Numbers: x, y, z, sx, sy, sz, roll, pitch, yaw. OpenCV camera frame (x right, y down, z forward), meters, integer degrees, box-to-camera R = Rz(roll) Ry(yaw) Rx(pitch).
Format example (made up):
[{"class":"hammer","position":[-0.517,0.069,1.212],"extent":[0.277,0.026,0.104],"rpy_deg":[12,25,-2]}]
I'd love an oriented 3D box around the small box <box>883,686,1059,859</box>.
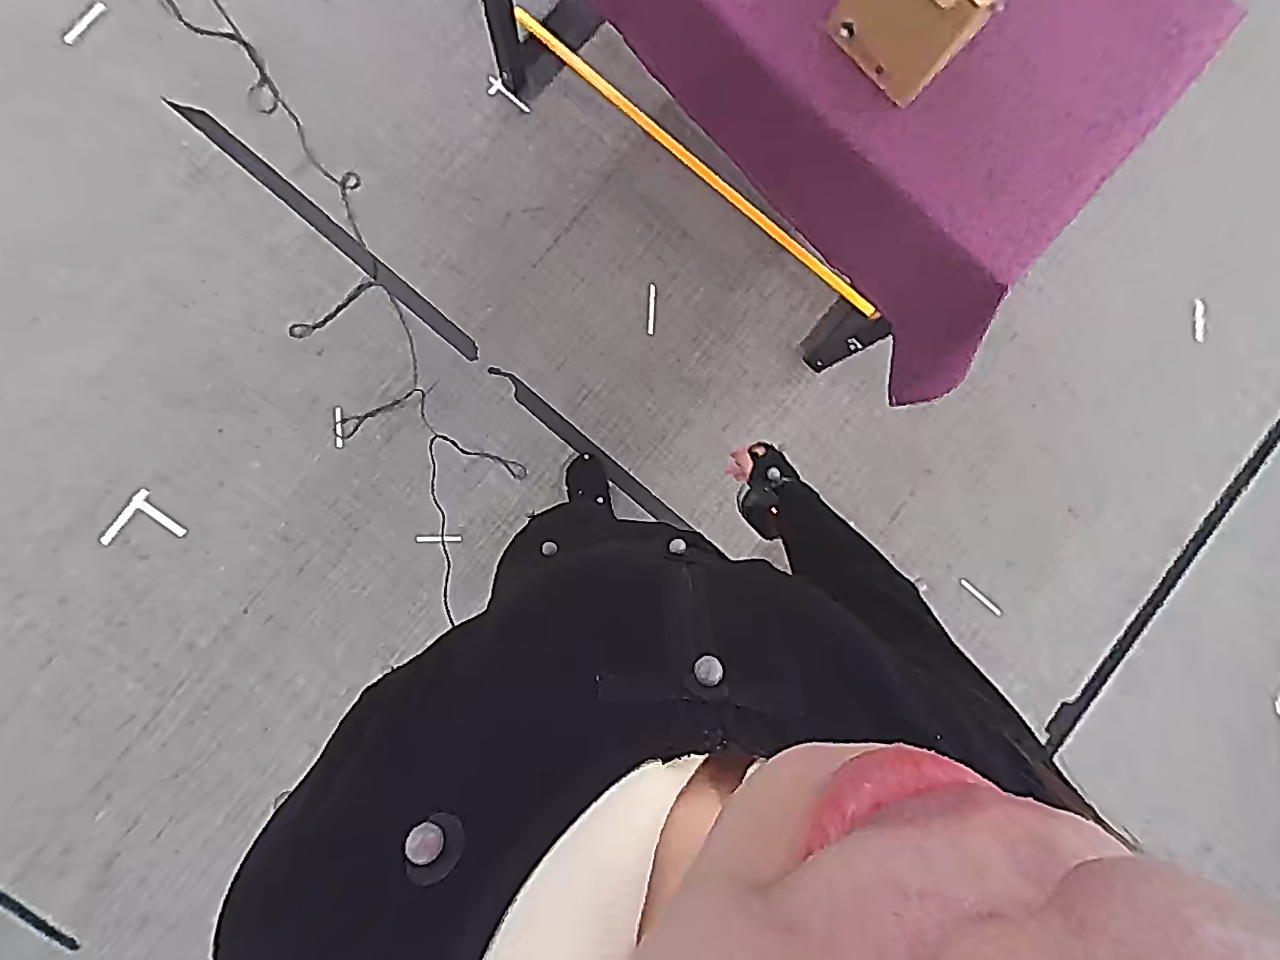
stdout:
[{"class":"small box","position":[0.568,0.500,0.956],"extent":[0.168,0.176,0.179],"rpy_deg":[33,91,0]}]

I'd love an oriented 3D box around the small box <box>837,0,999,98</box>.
[{"class":"small box","position":[0.394,-0.674,0.724],"extent":[0.168,0.176,0.179],"rpy_deg":[44,86,-3]}]
